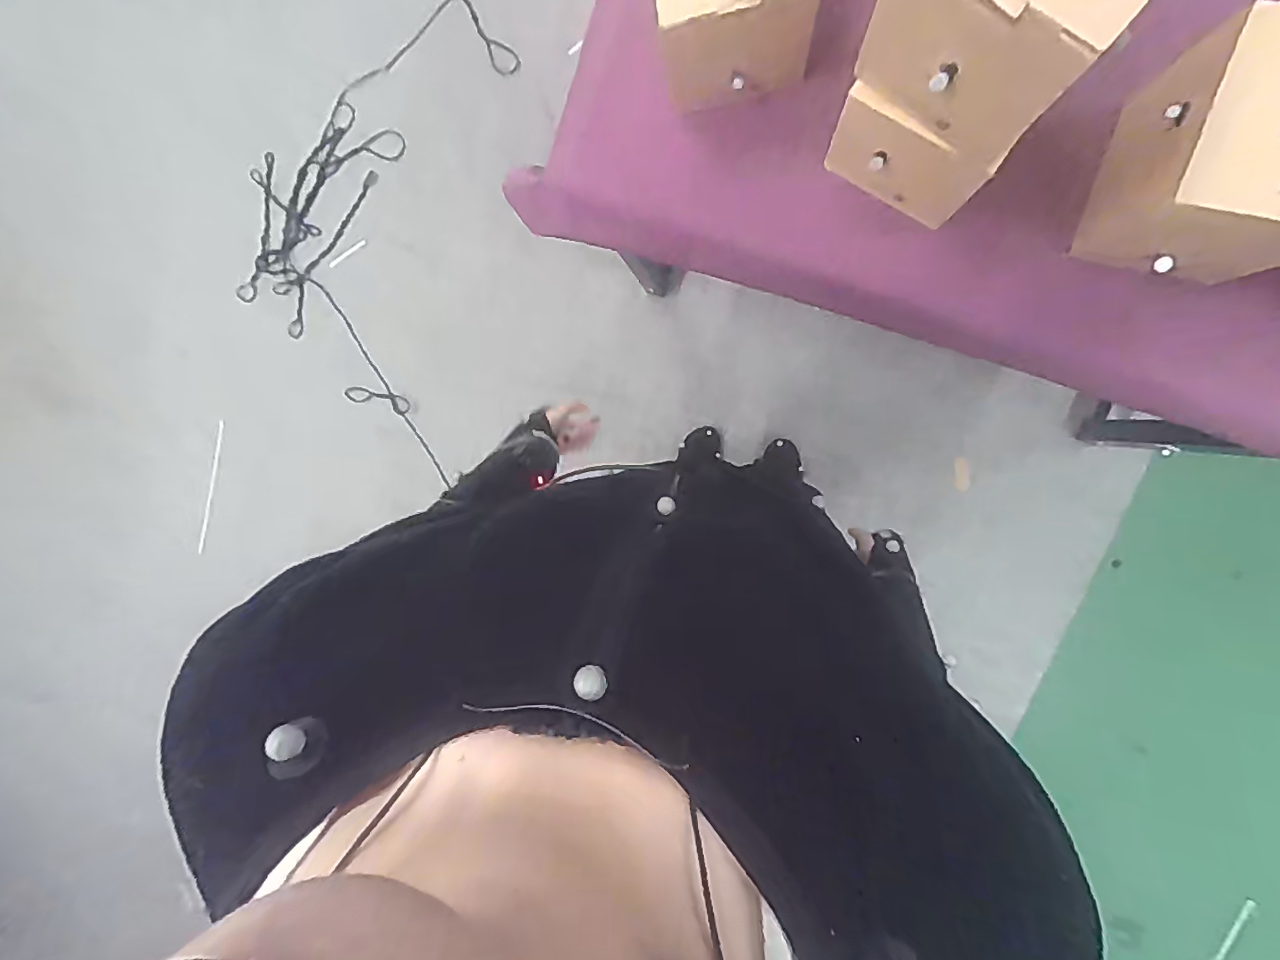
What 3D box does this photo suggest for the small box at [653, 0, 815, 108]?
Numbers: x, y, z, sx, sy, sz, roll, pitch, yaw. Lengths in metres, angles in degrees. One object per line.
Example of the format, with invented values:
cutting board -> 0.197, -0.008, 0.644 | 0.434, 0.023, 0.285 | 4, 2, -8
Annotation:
small box -> 0.097, -0.572, 0.612 | 0.168, 0.176, 0.179 | -7, 96, 11

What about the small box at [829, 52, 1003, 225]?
small box -> 0.329, -0.419, 0.595 | 0.168, 0.176, 0.179 | 34, 100, 5

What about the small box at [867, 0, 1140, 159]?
small box -> 0.309, -0.407, 0.432 | 0.168, 0.176, 0.179 | 41, 101, 3

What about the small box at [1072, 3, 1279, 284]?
small box -> 0.602, -0.324, 0.557 | 0.168, 0.176, 0.179 | 17, 99, 8
